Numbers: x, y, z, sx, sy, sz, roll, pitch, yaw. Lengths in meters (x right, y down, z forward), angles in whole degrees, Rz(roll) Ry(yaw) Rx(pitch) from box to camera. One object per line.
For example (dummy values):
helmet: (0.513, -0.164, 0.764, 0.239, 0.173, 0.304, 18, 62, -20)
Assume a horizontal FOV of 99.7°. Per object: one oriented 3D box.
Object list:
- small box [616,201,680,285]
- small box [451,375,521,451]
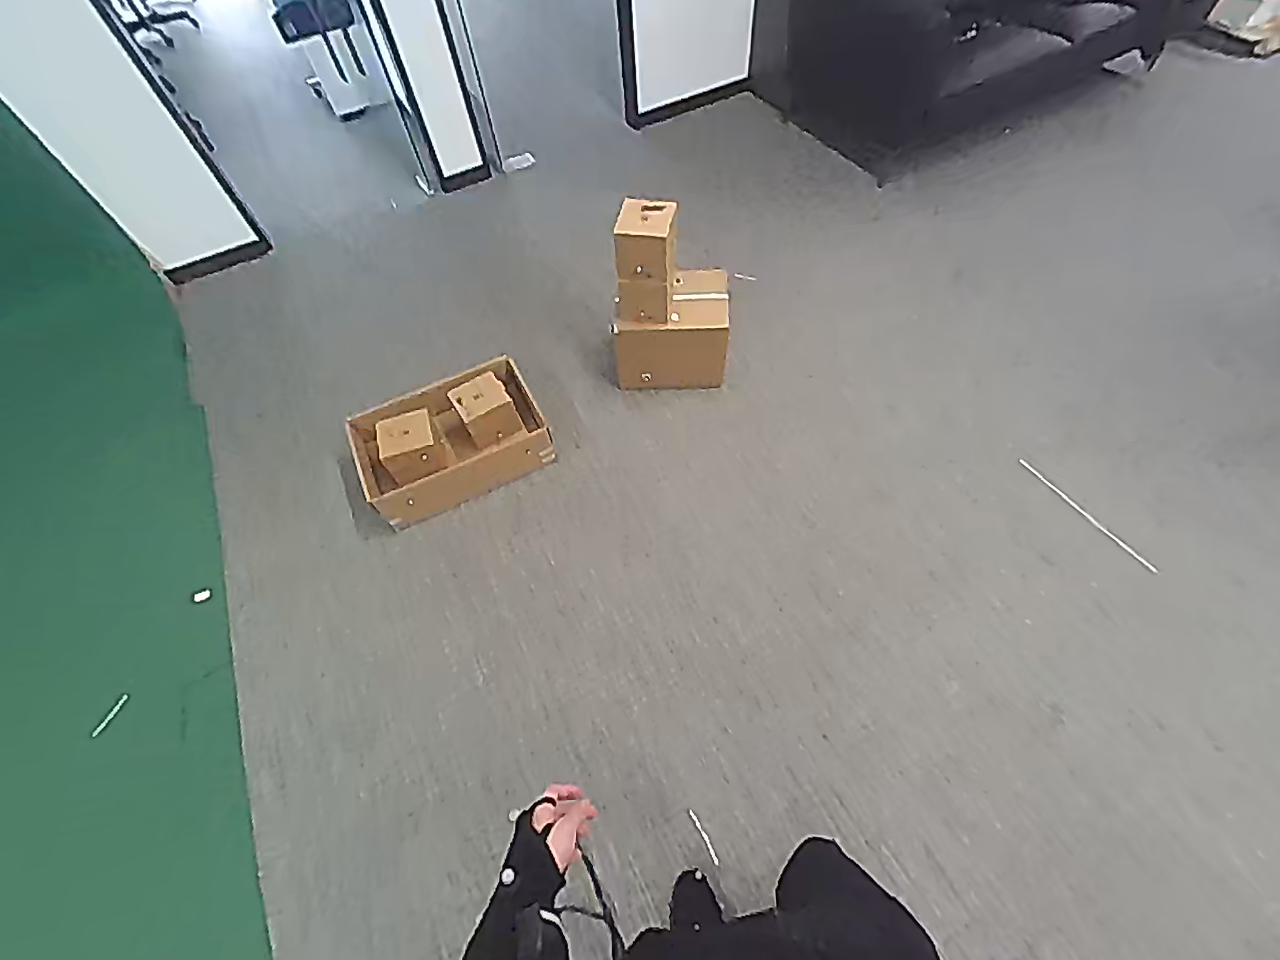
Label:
small box: (0.029, -0.745, 1.702, 0.168, 0.176, 0.179, 9, 60, 10)
small box: (-0.538, -0.235, 1.923, 0.179, 0.176, 0.168, -30, 61, -14)
